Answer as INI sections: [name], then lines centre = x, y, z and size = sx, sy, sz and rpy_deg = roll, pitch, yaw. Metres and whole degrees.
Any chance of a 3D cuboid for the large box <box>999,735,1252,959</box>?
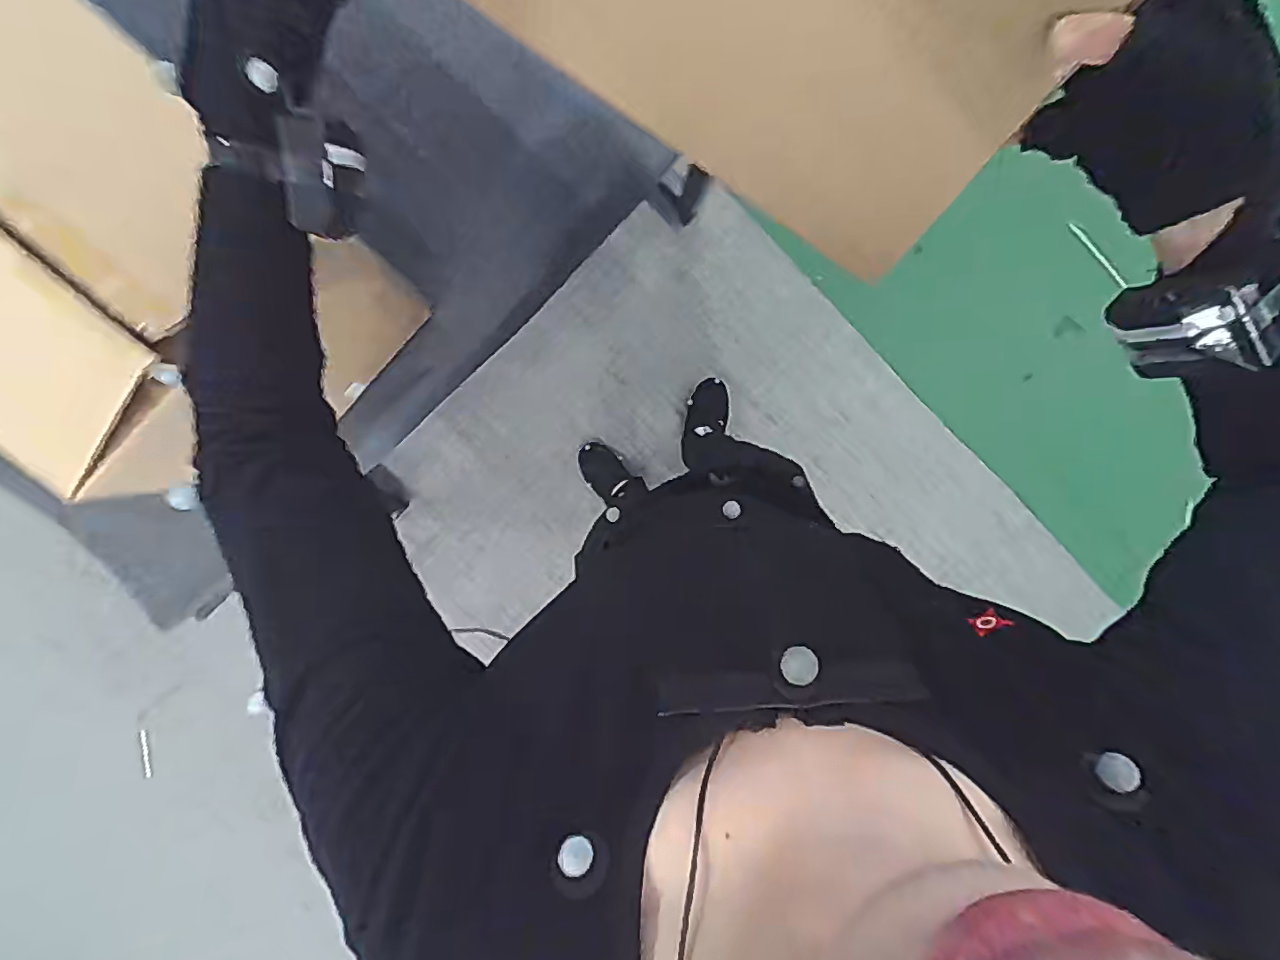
[large box]
centre = 1.365, 1.048, 1.558
size = 0.320, 0.320, 0.408
rpy_deg = 44, 88, -7
